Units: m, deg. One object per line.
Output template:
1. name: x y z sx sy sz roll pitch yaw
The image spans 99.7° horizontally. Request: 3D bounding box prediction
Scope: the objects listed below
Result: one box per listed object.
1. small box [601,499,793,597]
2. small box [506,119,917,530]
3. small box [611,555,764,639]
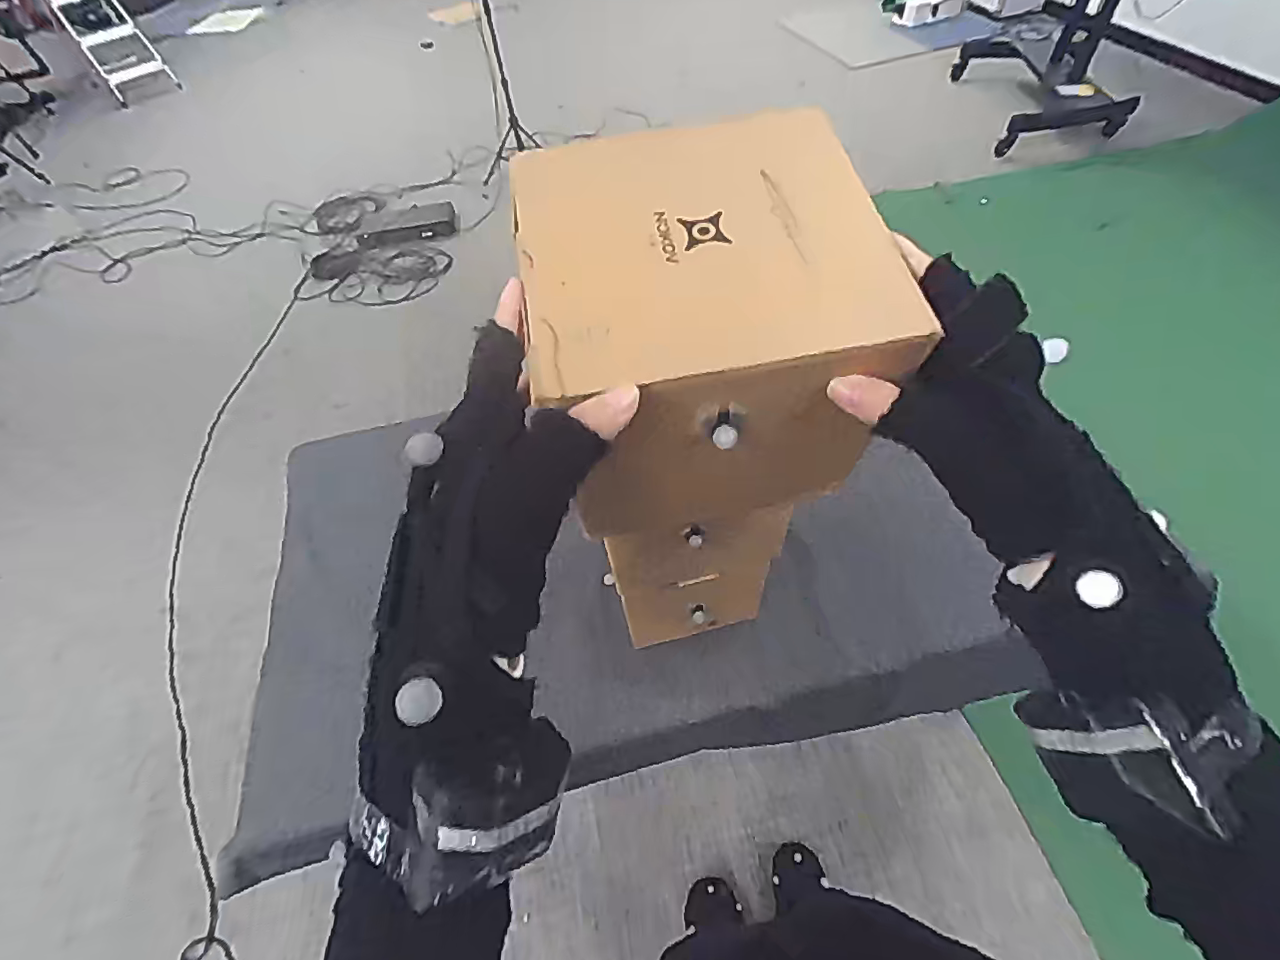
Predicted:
1. small box: 0.039 -0.006 0.545 0.179 0.176 0.168 -15 54 -7
2. small box: 0.028 -0.081 0.338 0.179 0.176 0.168 -10 64 -2
3. small box: 0.044 0.085 0.683 0.168 0.176 0.179 -13 55 -4
